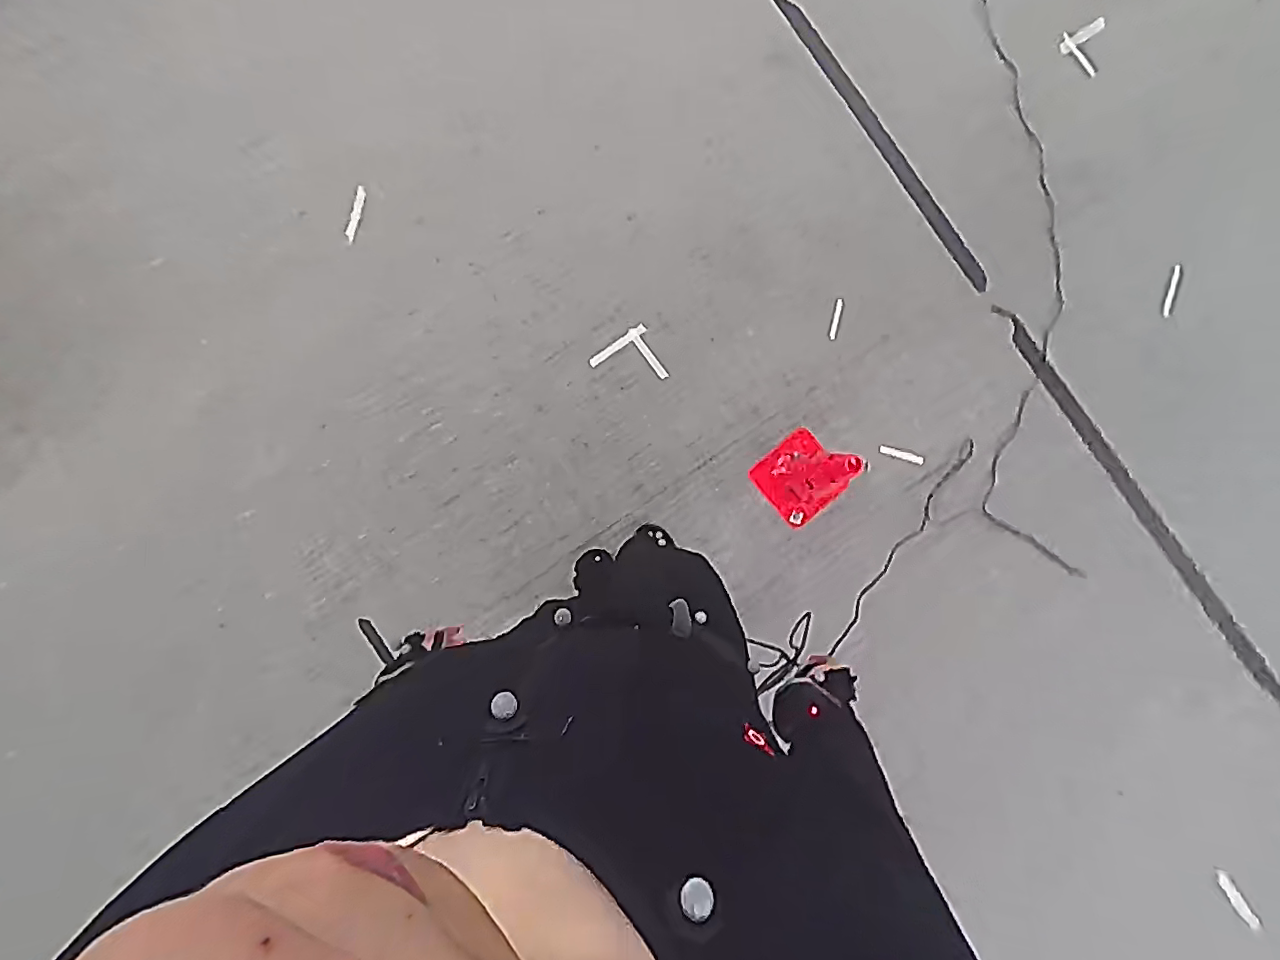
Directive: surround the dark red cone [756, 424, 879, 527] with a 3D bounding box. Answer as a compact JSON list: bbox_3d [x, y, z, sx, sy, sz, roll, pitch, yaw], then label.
[{"bbox_3d":[0.416,-0.024,1.181,0.201,0.394,0.202,-41,87,-4],"label":"dark red cone"}]
